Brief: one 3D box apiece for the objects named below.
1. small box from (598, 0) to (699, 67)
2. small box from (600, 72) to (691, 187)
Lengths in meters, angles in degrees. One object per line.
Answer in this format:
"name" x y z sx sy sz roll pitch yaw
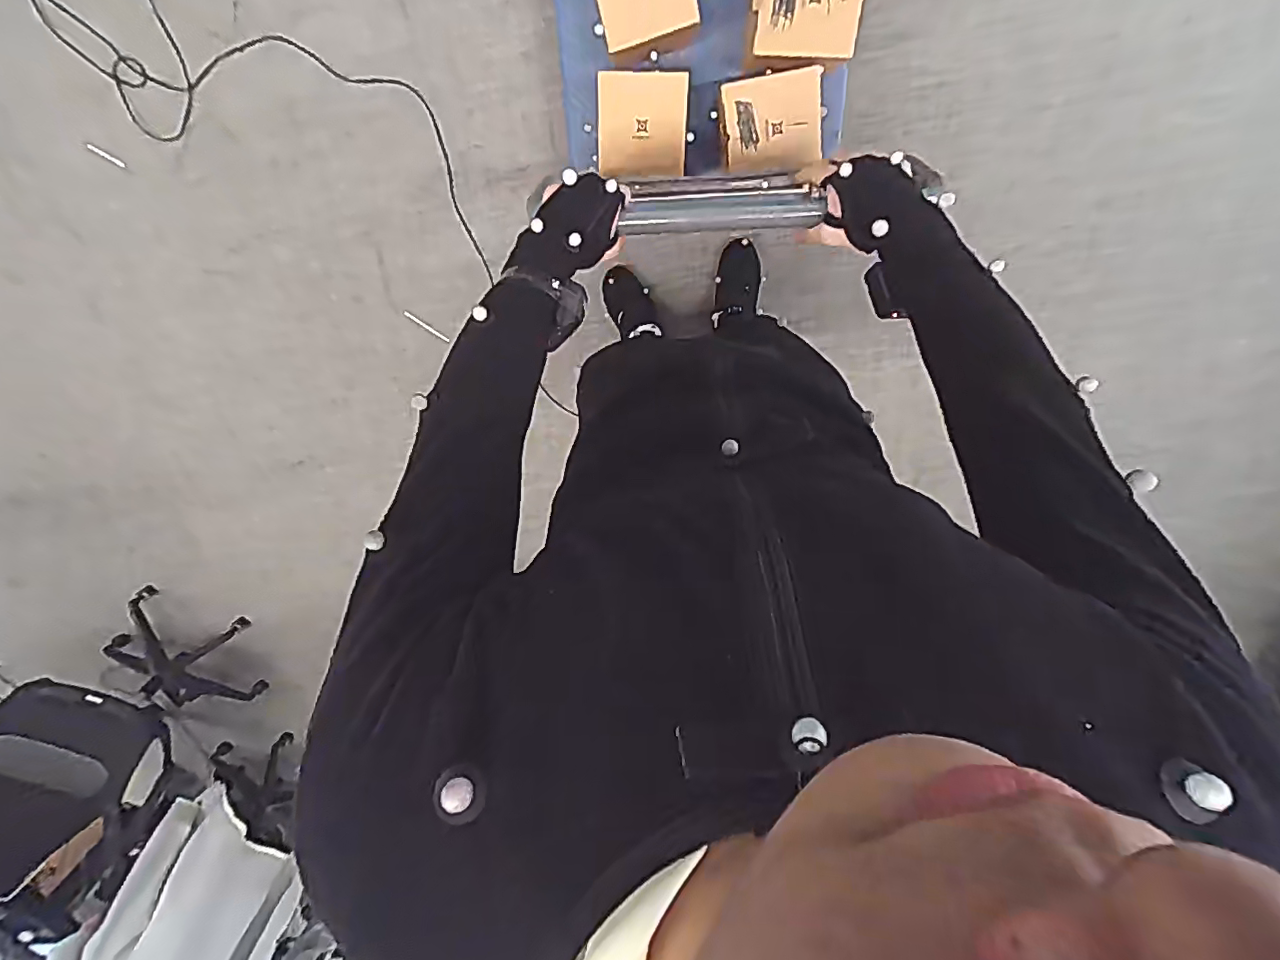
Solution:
"small box" 0.011 -0.876 0.974 0.168 0.176 0.179 -11 117 9
"small box" 0.009 -0.689 1.078 0.168 0.176 0.179 2 119 2
